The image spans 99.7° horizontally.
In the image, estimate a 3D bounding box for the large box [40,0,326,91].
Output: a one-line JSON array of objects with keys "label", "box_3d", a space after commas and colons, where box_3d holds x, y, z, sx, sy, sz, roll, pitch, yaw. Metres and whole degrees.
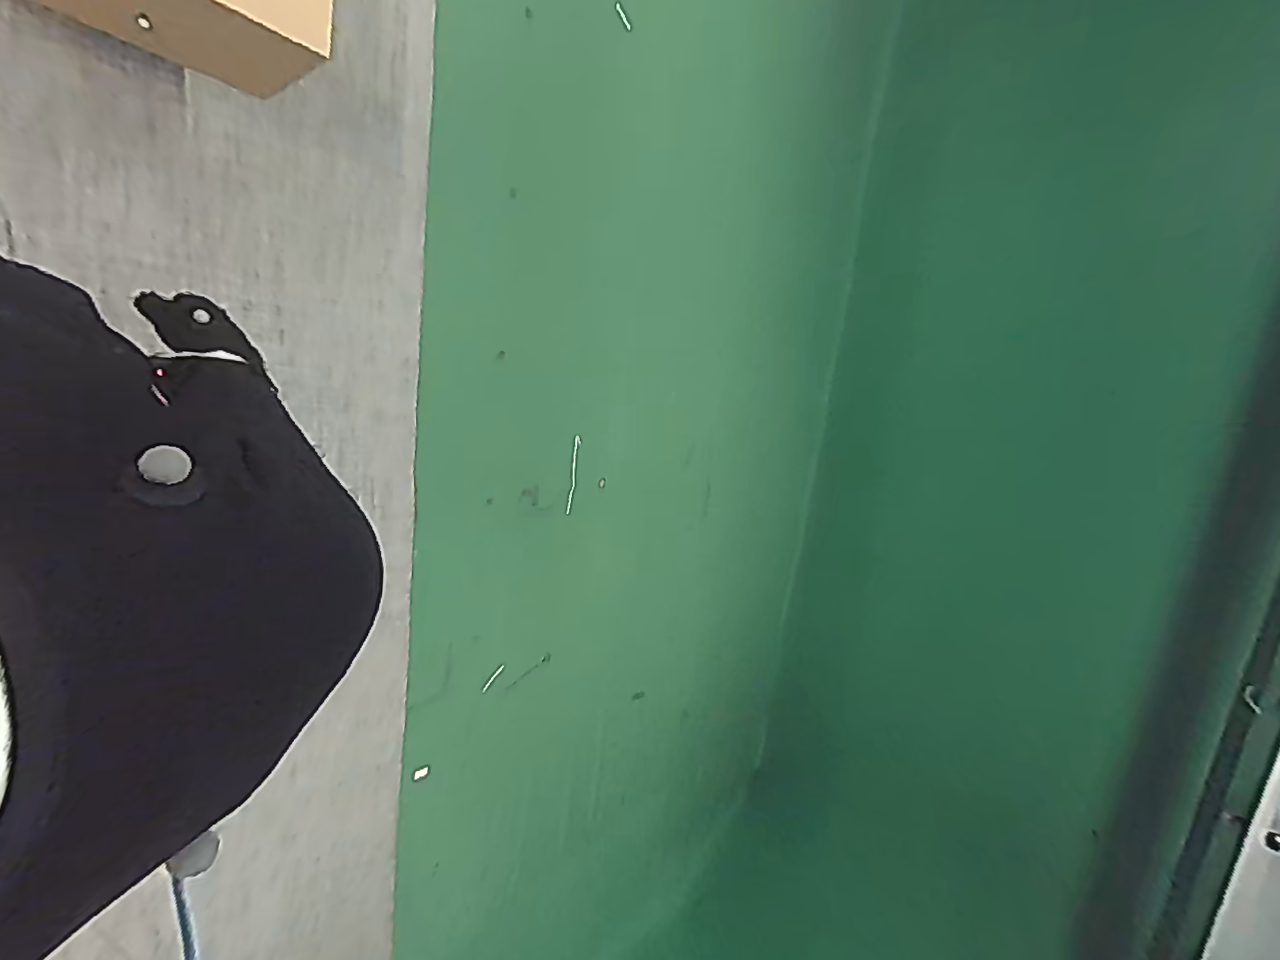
[{"label": "large box", "box_3d": [-0.729, -0.856, 0.789, 0.408, 0.320, 0.320, -4, 105, -50]}]
